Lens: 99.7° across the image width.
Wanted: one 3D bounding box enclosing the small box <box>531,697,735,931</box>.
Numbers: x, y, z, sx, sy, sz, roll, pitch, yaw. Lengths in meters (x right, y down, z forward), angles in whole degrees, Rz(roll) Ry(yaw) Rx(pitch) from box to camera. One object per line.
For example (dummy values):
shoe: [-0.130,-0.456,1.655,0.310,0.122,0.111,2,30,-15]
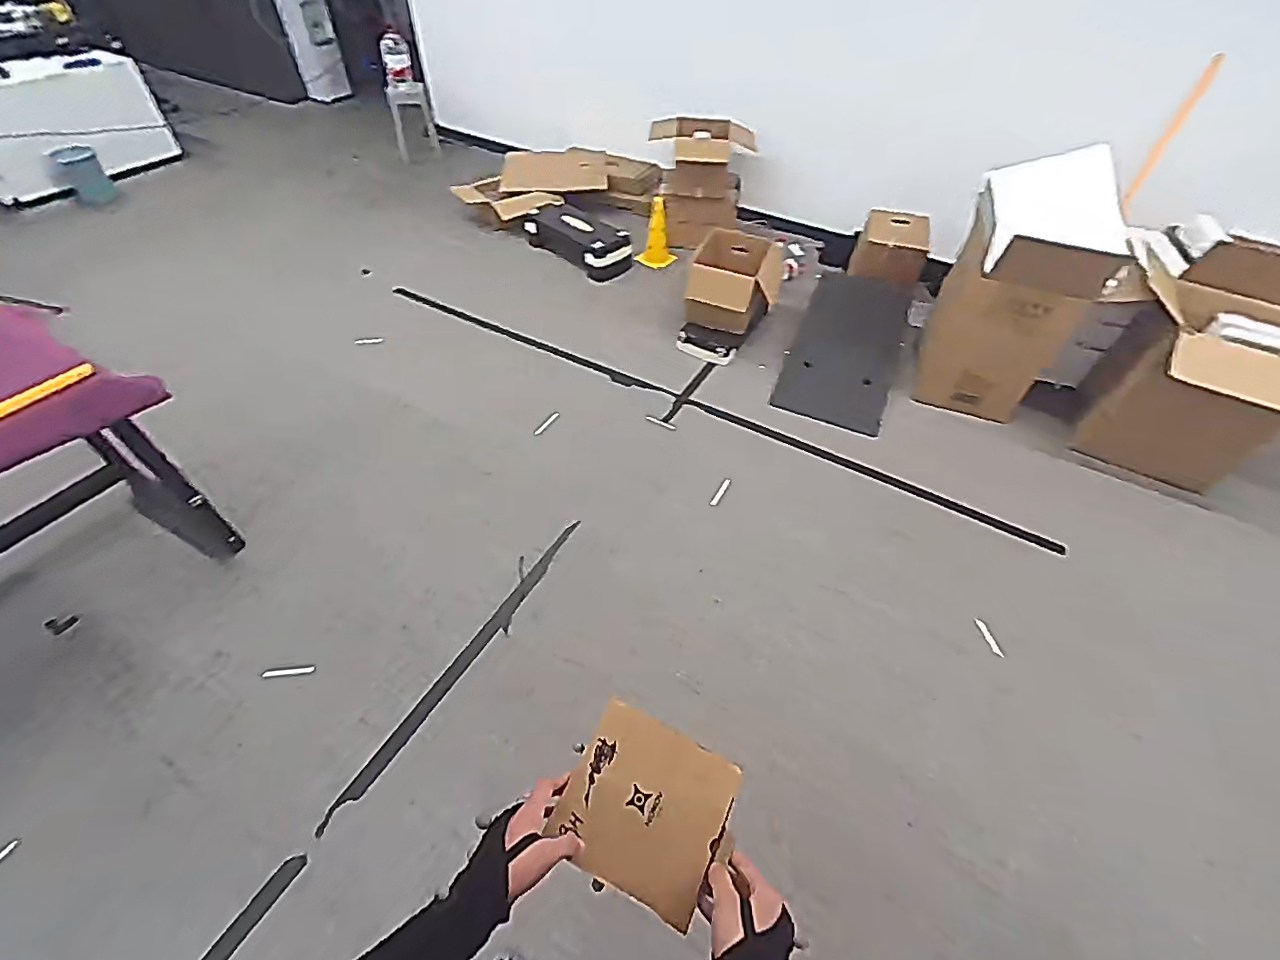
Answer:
small box: [-0.012,0.393,0.659,0.179,0.176,0.168,27,59,8]
